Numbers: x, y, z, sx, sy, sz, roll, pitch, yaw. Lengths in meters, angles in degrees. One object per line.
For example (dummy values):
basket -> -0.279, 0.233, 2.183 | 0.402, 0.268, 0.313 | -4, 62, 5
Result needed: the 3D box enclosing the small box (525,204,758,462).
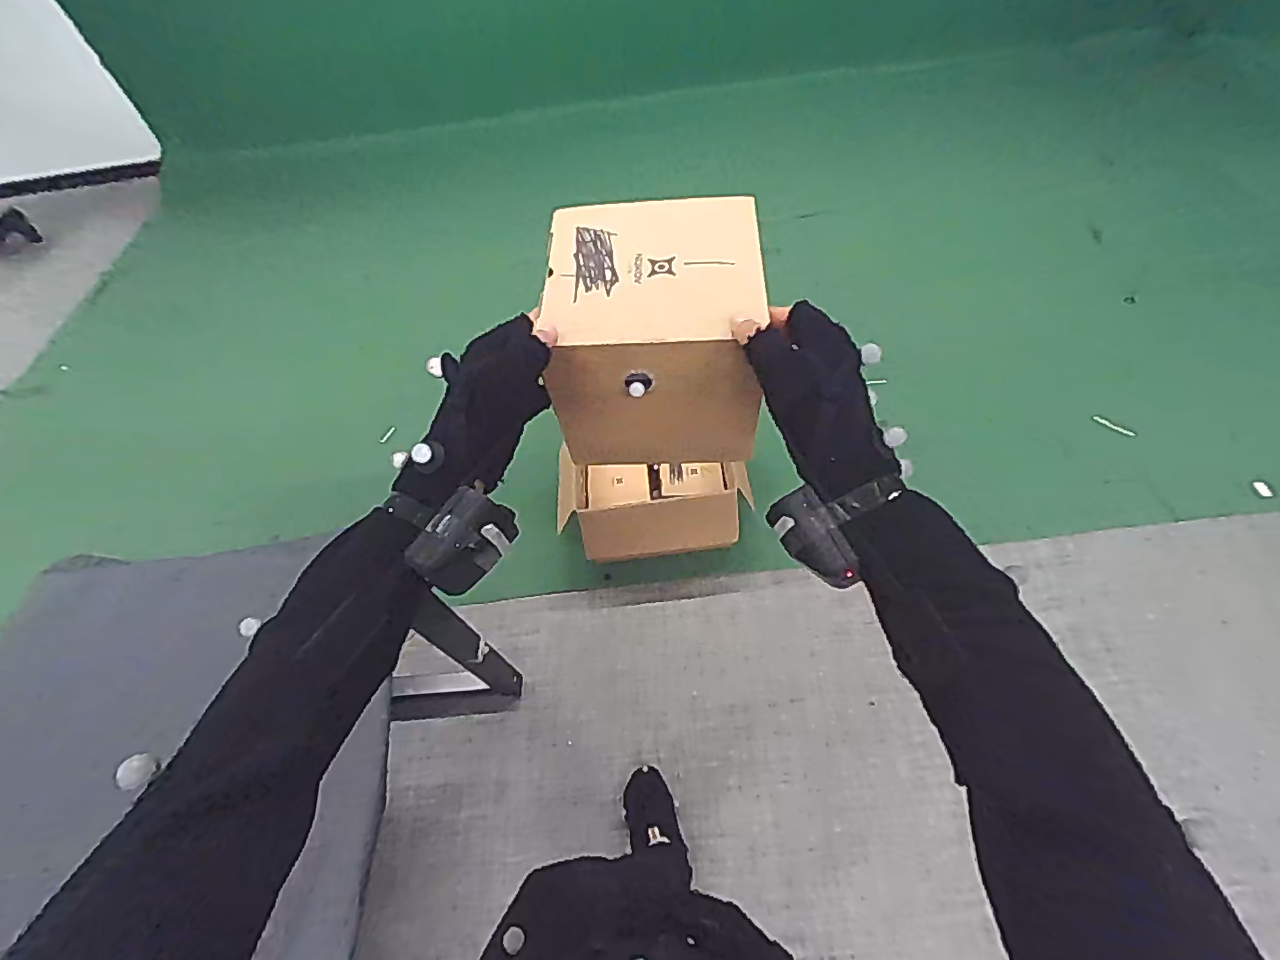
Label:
small box -> 0.009, -0.126, 0.503 | 0.179, 0.176, 0.168 | -1, 60, 5
